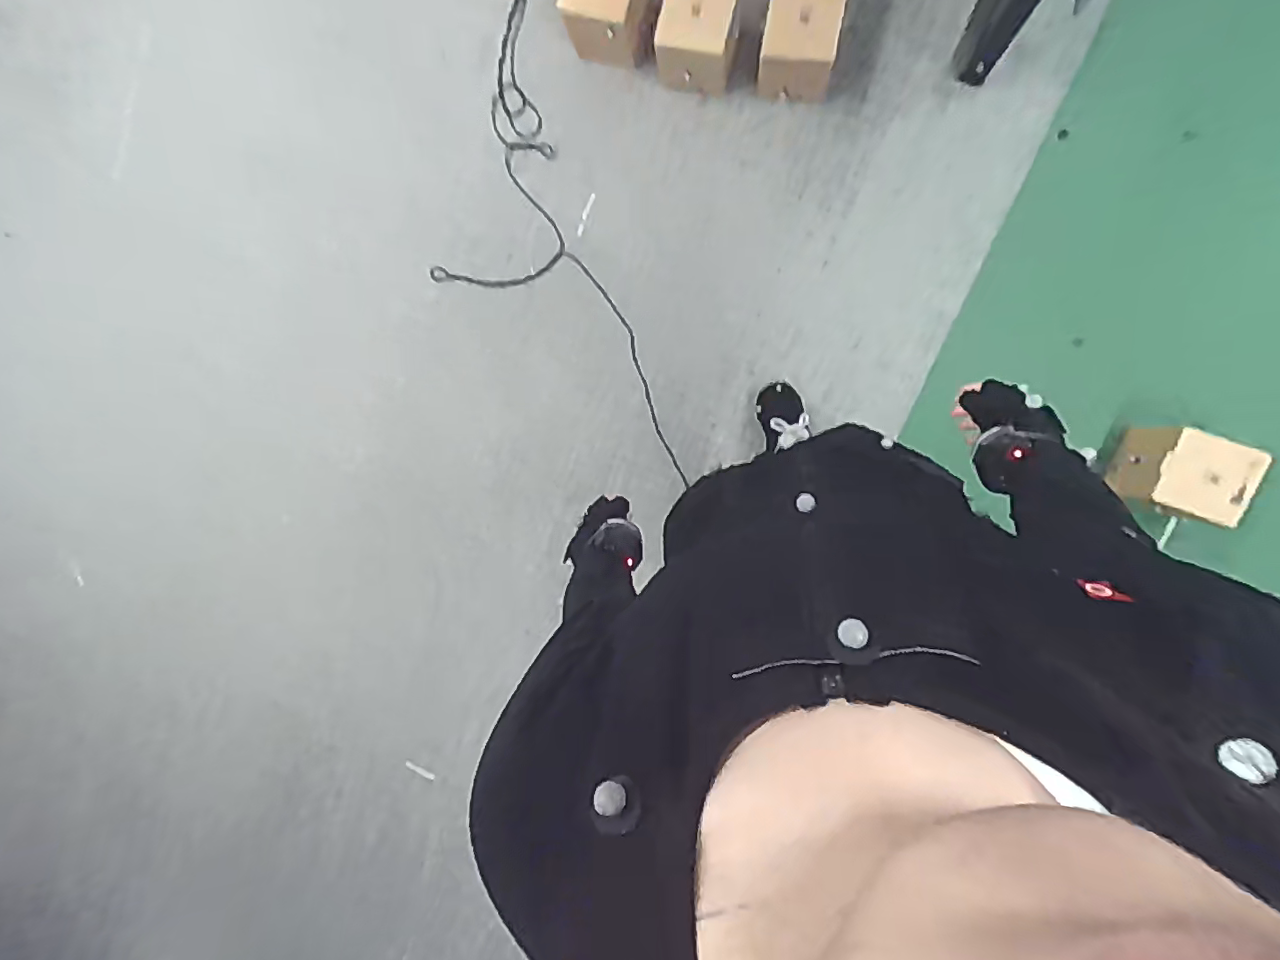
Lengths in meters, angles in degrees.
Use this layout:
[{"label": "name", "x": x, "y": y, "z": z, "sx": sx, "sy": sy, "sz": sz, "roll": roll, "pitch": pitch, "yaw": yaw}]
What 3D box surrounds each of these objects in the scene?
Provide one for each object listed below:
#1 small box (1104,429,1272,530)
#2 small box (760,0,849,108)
[{"label": "small box", "x": 1.208, "y": -0.004, "z": 1.212, "sx": 0.179, "sy": 0.176, "sz": 0.168, "roll": 22, "pitch": 98, "yaw": 8}, {"label": "small box", "x": 0.380, "y": -1.022, "z": 1.269, "sx": 0.168, "sy": 0.176, "sz": 0.179, "roll": 11, "pitch": 96, "yaw": 9}]
